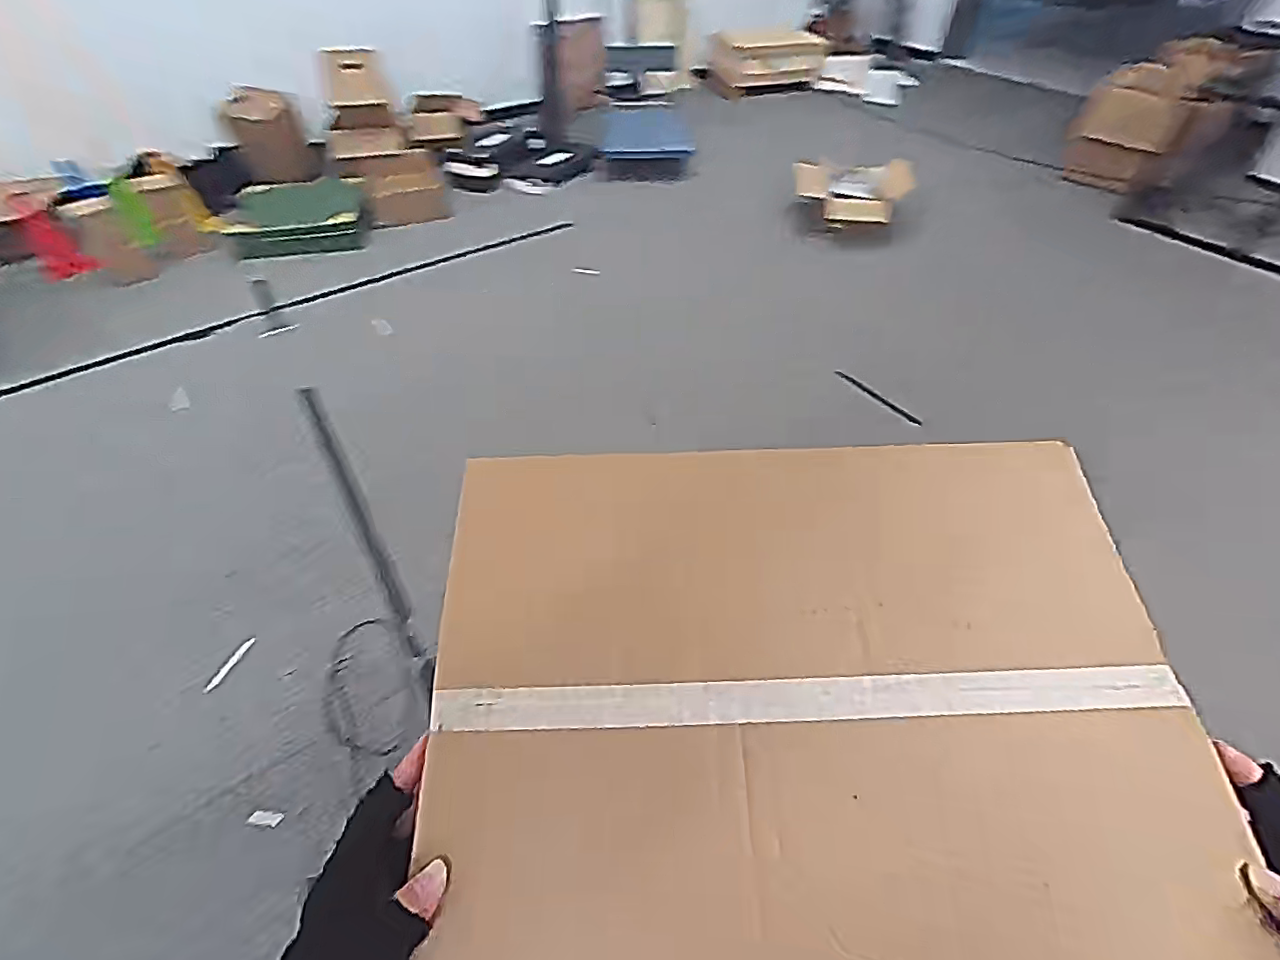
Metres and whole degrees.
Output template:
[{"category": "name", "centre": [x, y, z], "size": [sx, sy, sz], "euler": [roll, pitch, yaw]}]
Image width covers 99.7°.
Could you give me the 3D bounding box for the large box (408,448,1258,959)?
[{"category": "large box", "centre": [0.085, 0.195, 0.434], "size": [0.408, 0.320, 0.320], "euler": [-4, 63, 0]}]
